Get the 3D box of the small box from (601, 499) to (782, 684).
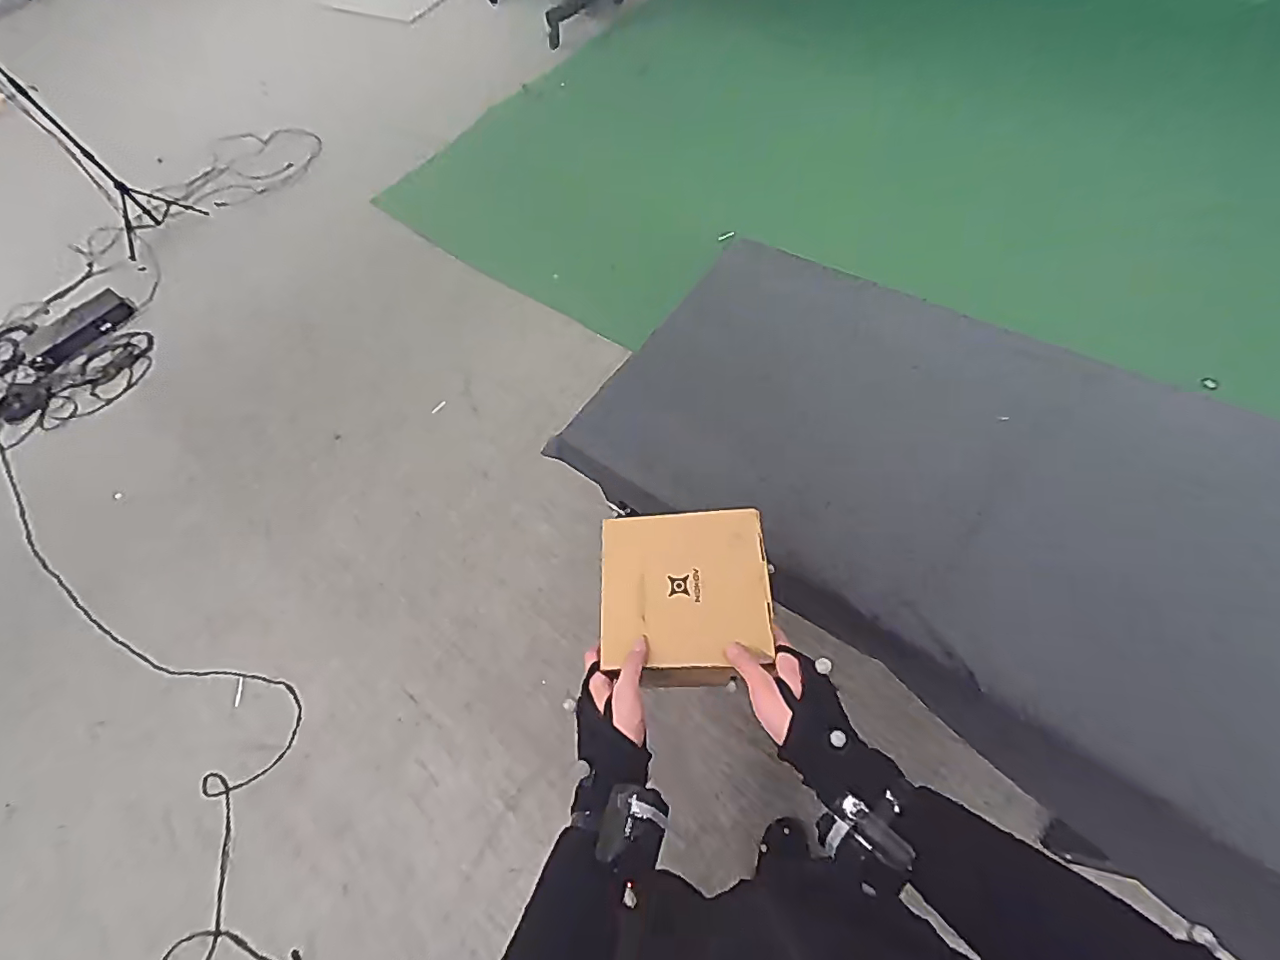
[{"bbox_3d":[0.058,0.135,0.622,0.179,0.176,0.168,-5,61,7],"label":"small box"}]
